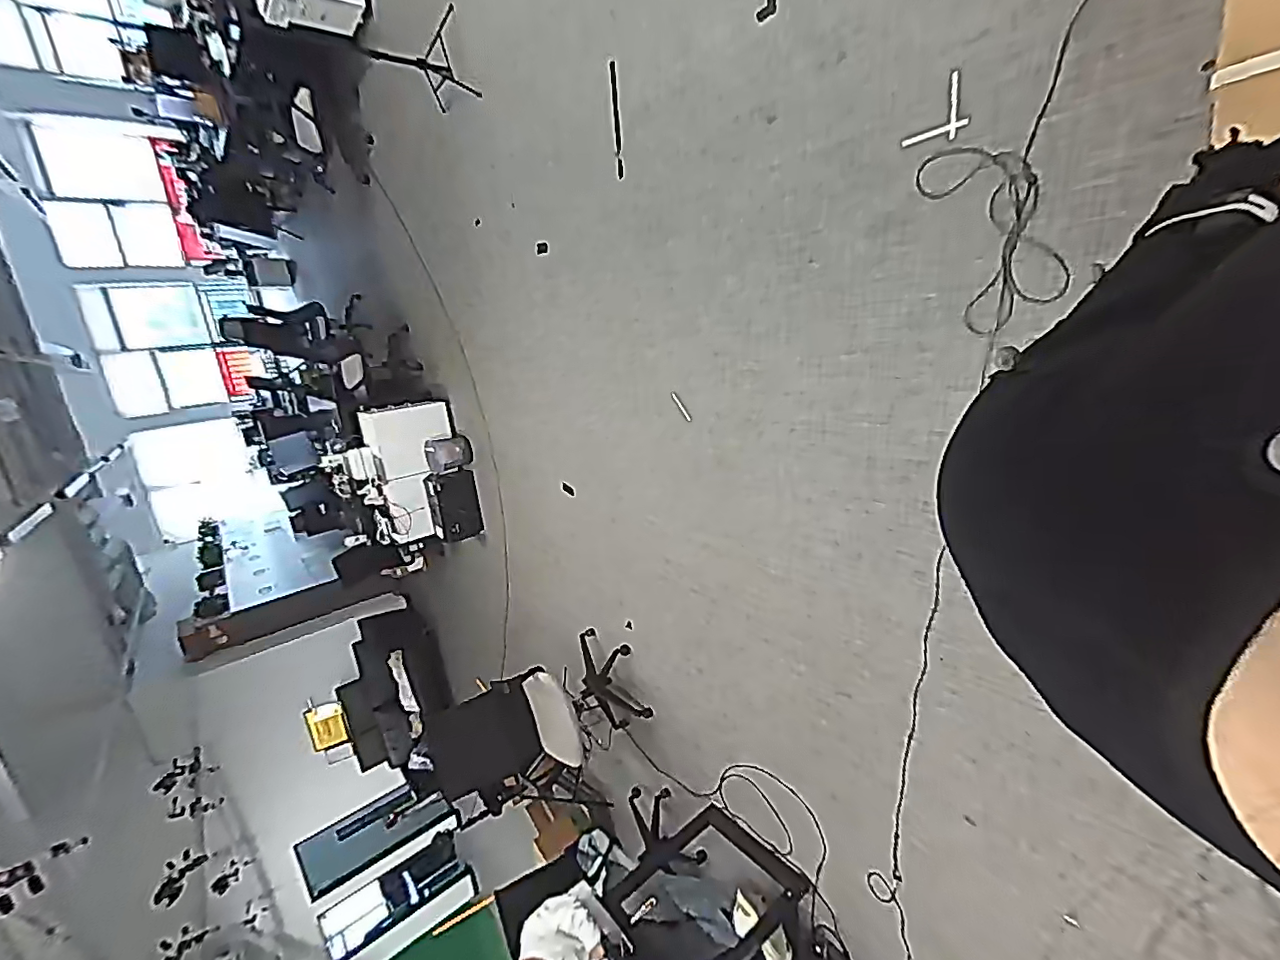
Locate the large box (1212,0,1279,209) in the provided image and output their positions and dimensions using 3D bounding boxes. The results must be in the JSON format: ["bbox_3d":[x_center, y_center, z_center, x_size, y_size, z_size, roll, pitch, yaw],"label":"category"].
[{"bbox_3d":[1.061,-0.587,0.704,0.408,0.320,0.320,9,109,50],"label":"large box"}]
